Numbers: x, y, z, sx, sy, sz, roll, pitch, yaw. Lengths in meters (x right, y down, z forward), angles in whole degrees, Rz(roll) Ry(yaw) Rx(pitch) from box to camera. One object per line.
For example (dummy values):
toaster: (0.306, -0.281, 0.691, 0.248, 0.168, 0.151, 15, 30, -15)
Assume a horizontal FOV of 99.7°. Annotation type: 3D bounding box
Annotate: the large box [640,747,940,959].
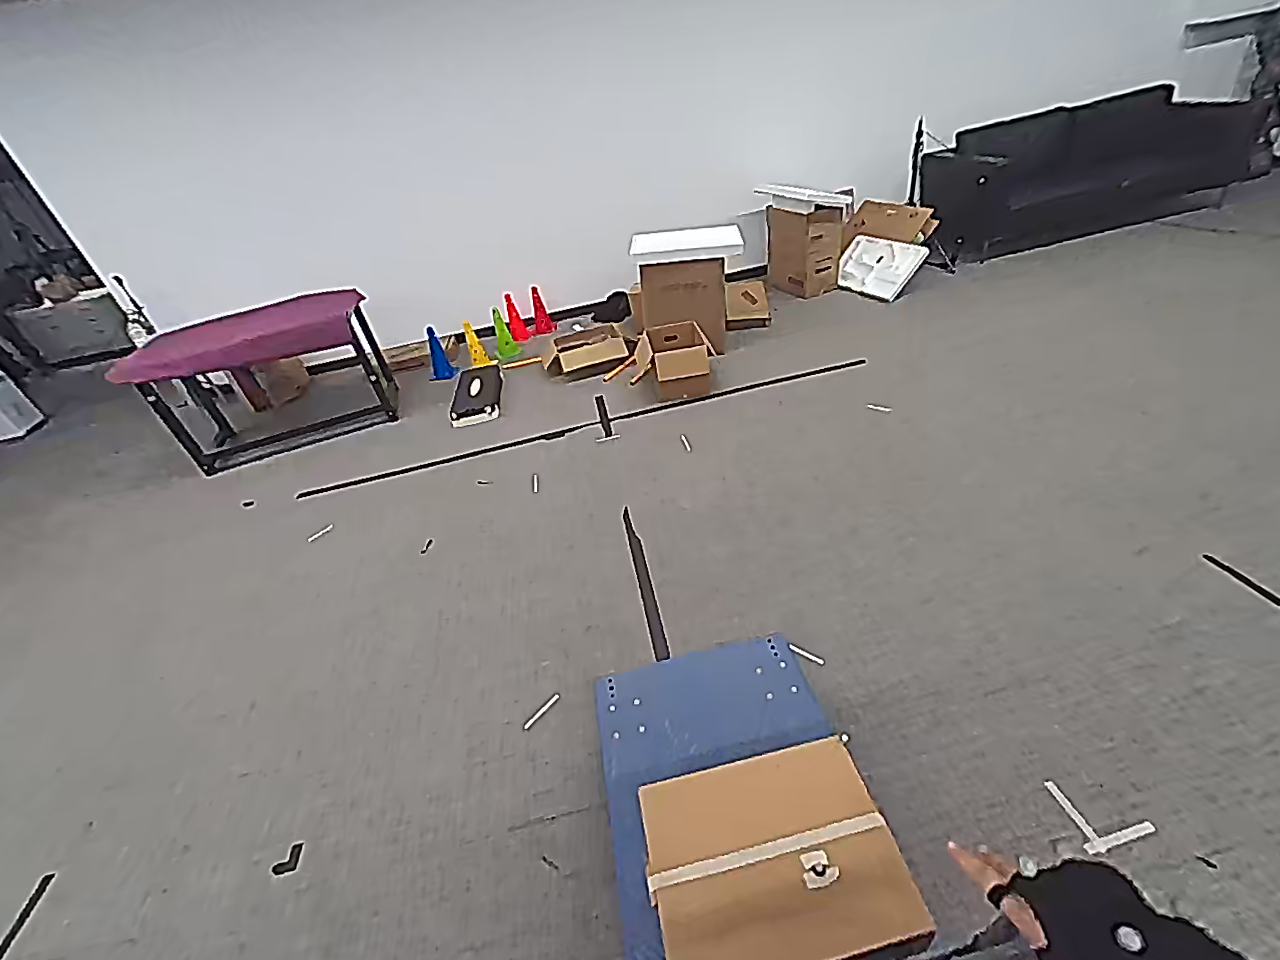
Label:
large box: (0.238, 0.753, 0.973, 0.408, 0.320, 0.320, -12, 36, -4)
